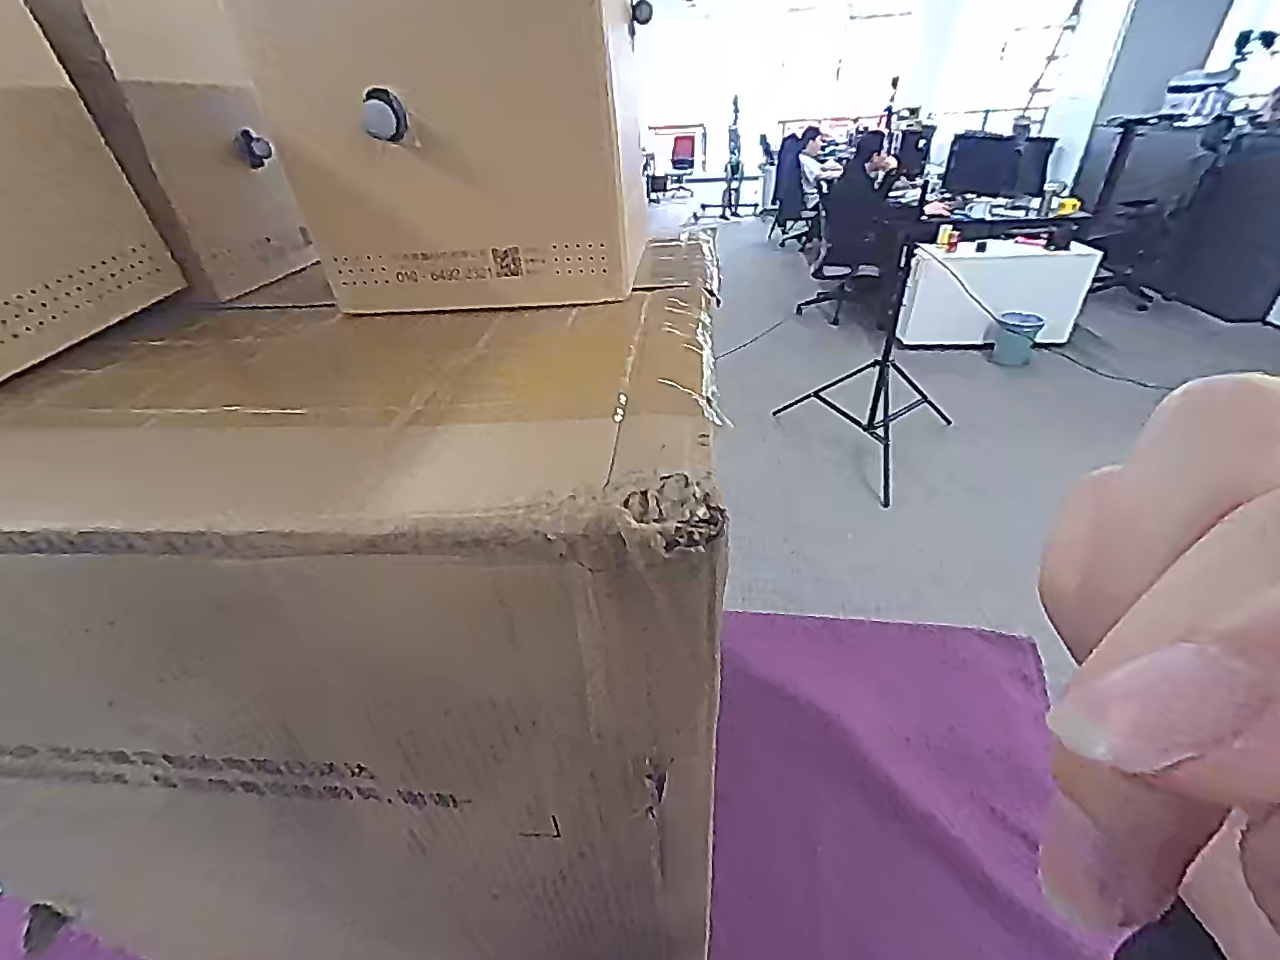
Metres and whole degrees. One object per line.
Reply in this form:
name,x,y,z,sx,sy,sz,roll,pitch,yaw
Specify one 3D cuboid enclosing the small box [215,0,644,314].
small box,-0.088,-0.203,0.323,0.168,0.176,0.179,-1,34,5
